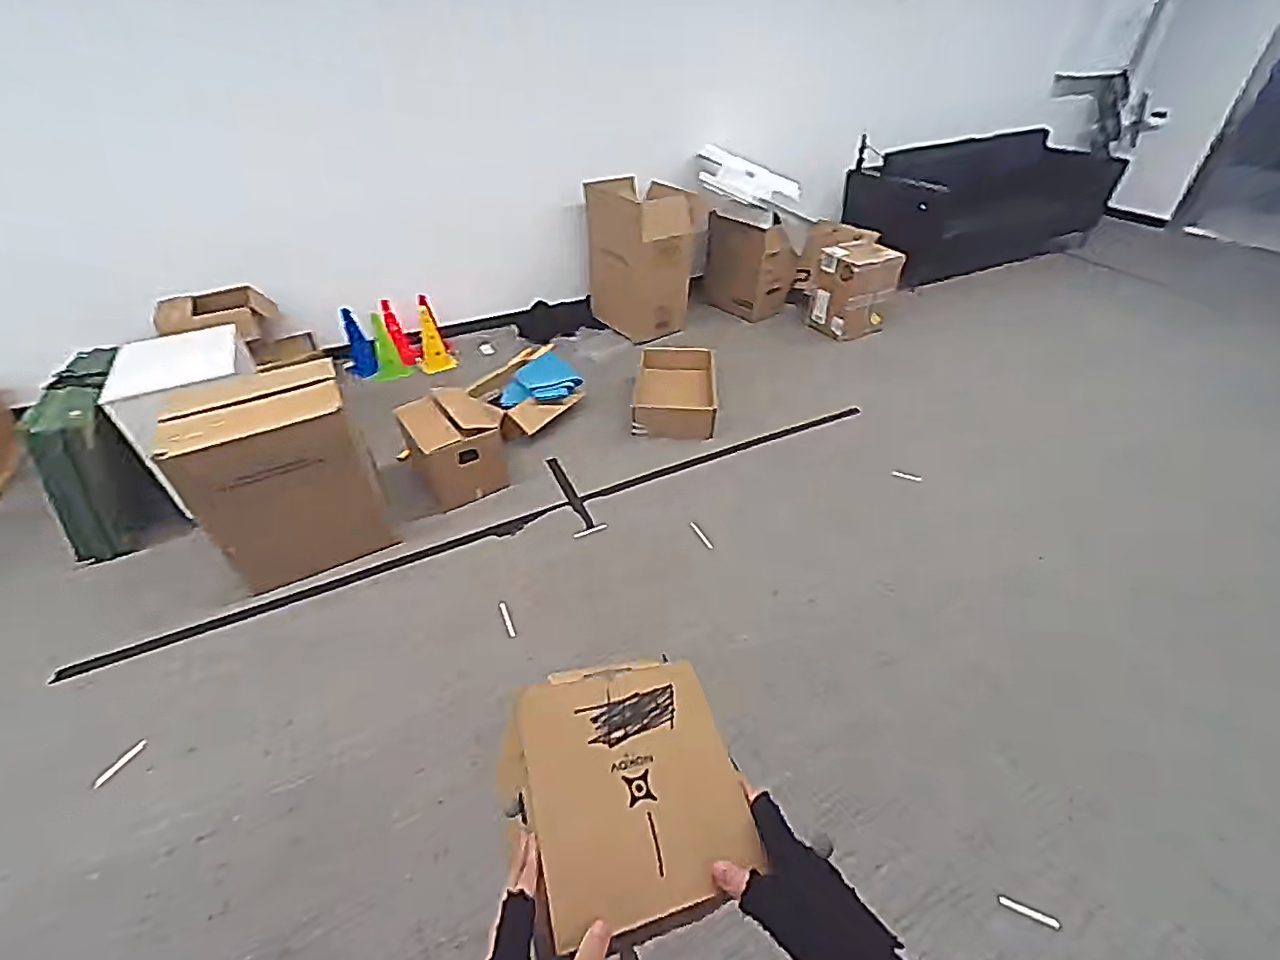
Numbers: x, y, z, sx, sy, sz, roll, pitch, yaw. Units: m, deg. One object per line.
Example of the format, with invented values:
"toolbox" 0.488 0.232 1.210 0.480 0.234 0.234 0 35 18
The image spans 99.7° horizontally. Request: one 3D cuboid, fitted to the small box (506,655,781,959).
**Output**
"small box" -0.017 0.282 0.469 0.168 0.176 0.179 -1 45 -23
